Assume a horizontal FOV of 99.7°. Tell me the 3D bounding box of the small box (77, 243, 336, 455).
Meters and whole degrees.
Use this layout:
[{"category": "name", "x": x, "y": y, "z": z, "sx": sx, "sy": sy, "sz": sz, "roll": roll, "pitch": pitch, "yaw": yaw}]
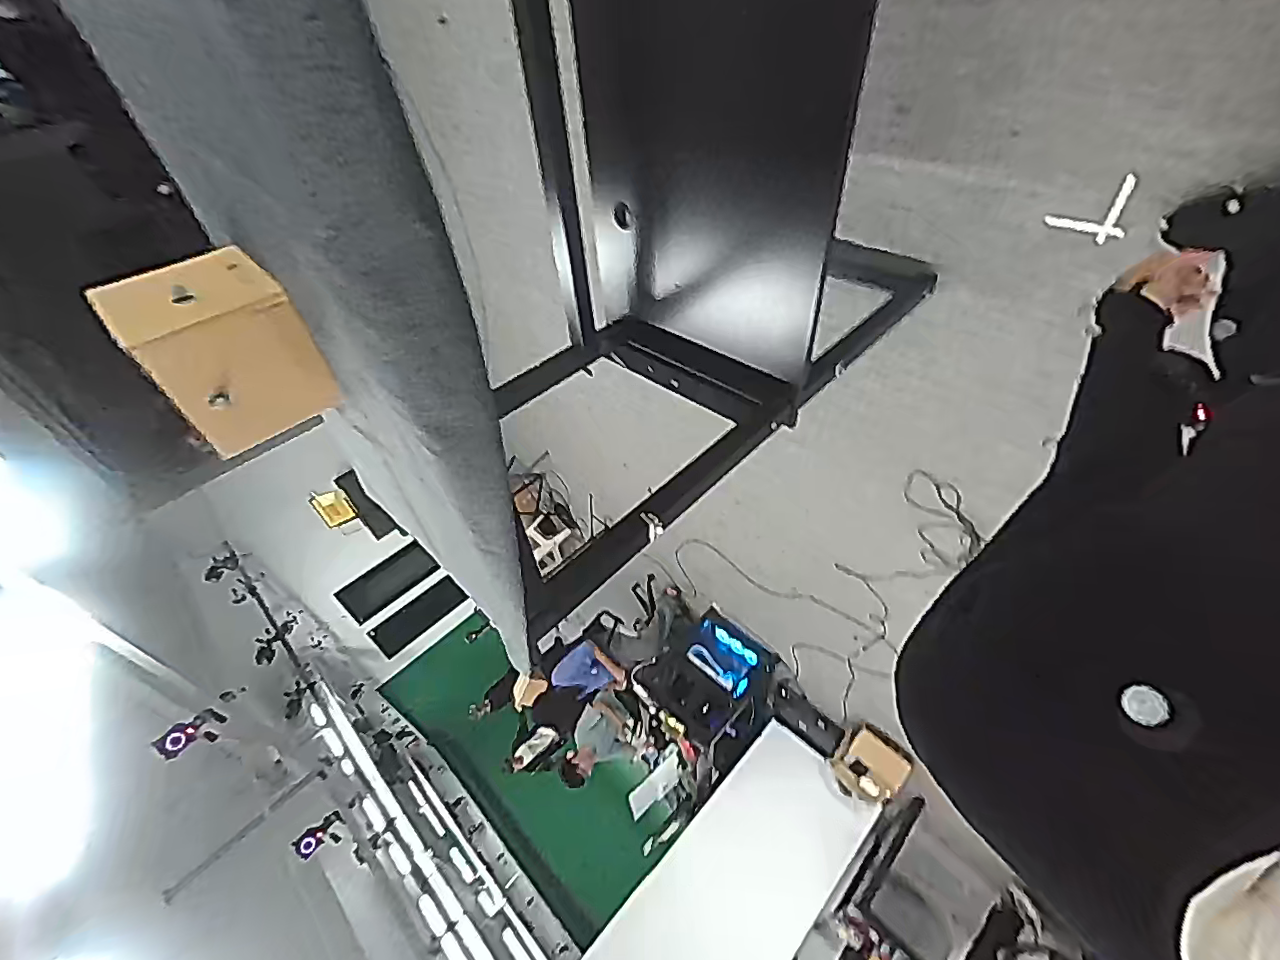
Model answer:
[{"category": "small box", "x": -0.535, "y": -0.173, "z": 0.691, "sx": 0.168, "sy": 0.176, "sz": 0.179, "roll": 36, "pitch": 150, "yaw": 26}]
